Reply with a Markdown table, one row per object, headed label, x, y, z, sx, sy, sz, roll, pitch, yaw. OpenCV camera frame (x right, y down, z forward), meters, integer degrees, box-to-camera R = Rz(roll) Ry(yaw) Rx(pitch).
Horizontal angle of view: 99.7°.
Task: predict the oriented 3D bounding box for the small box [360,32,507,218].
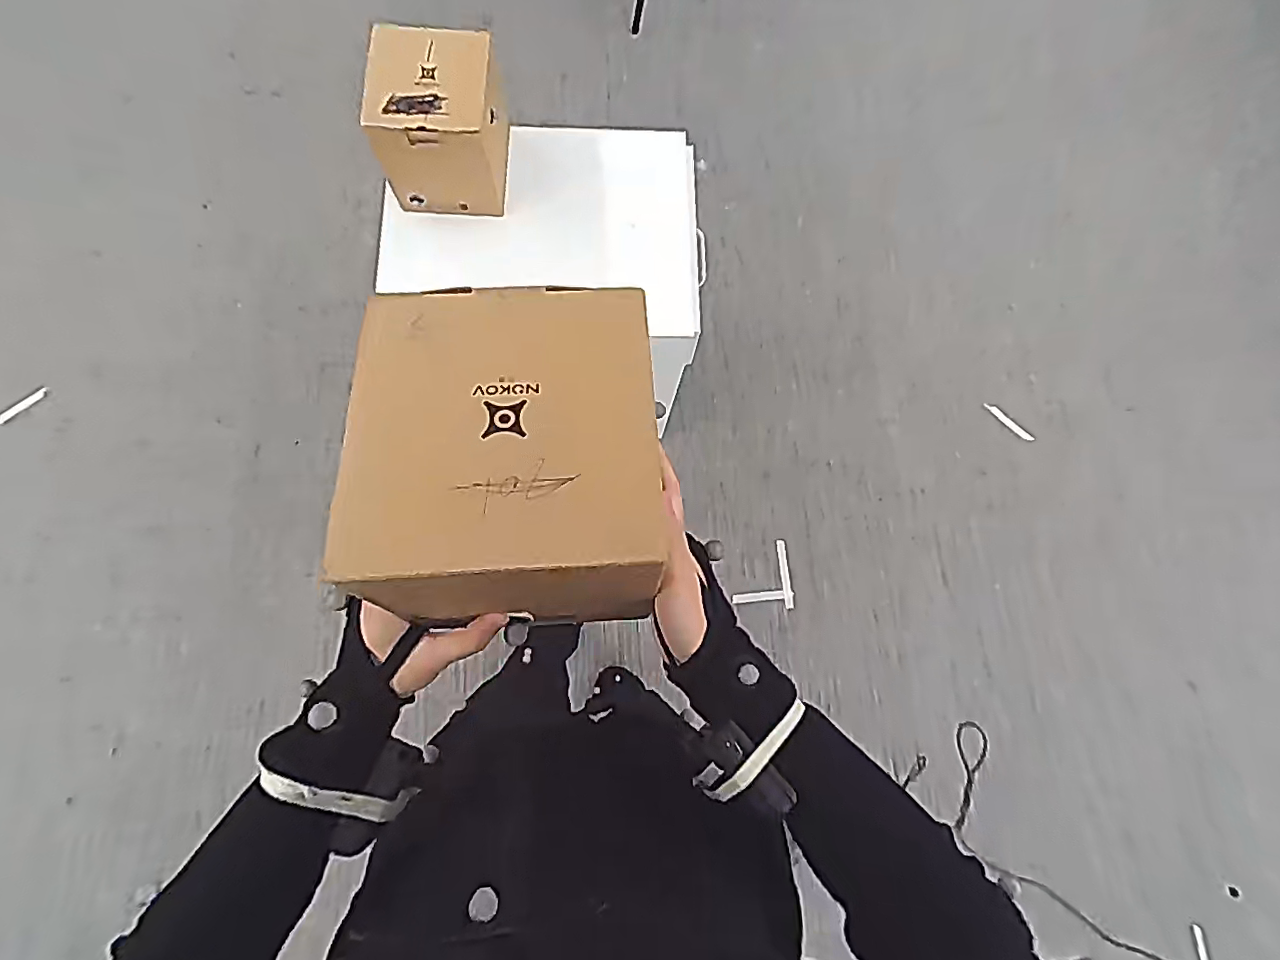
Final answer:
| label | x | y | z | sx | sy | sz | roll | pitch | yaw |
| --- | --- | --- | --- | --- | --- | --- | --- | --- | --- |
| small box | -0.303 | -0.531 | 0.830 | 0.168 | 0.176 | 0.179 | 1 | 77 | -4 |

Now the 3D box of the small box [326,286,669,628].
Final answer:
| label | x | y | z | sx | sy | sz | roll | pitch | yaw |
| --- | --- | --- | --- | --- | --- | --- | --- | --- | --- |
| small box | -0.075 | -0.005 | 0.365 | 0.168 | 0.176 | 0.179 | -2 | 67 | -4 |
